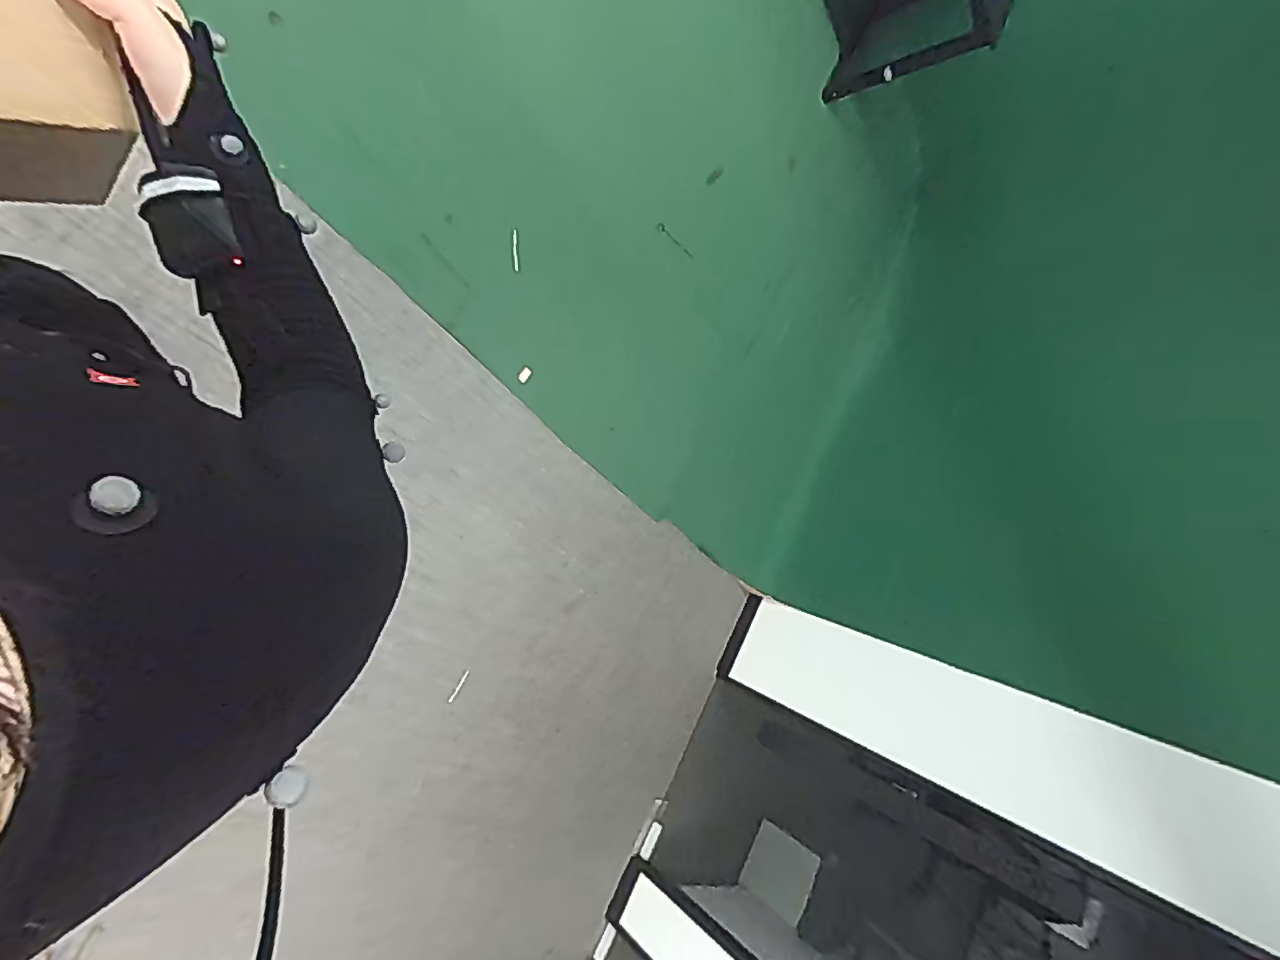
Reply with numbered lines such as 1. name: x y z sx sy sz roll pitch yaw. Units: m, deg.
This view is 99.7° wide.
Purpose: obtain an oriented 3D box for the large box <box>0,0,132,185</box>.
1. large box: -0.619 -0.373 0.297 0.408 0.320 0.320 -24 118 -44
